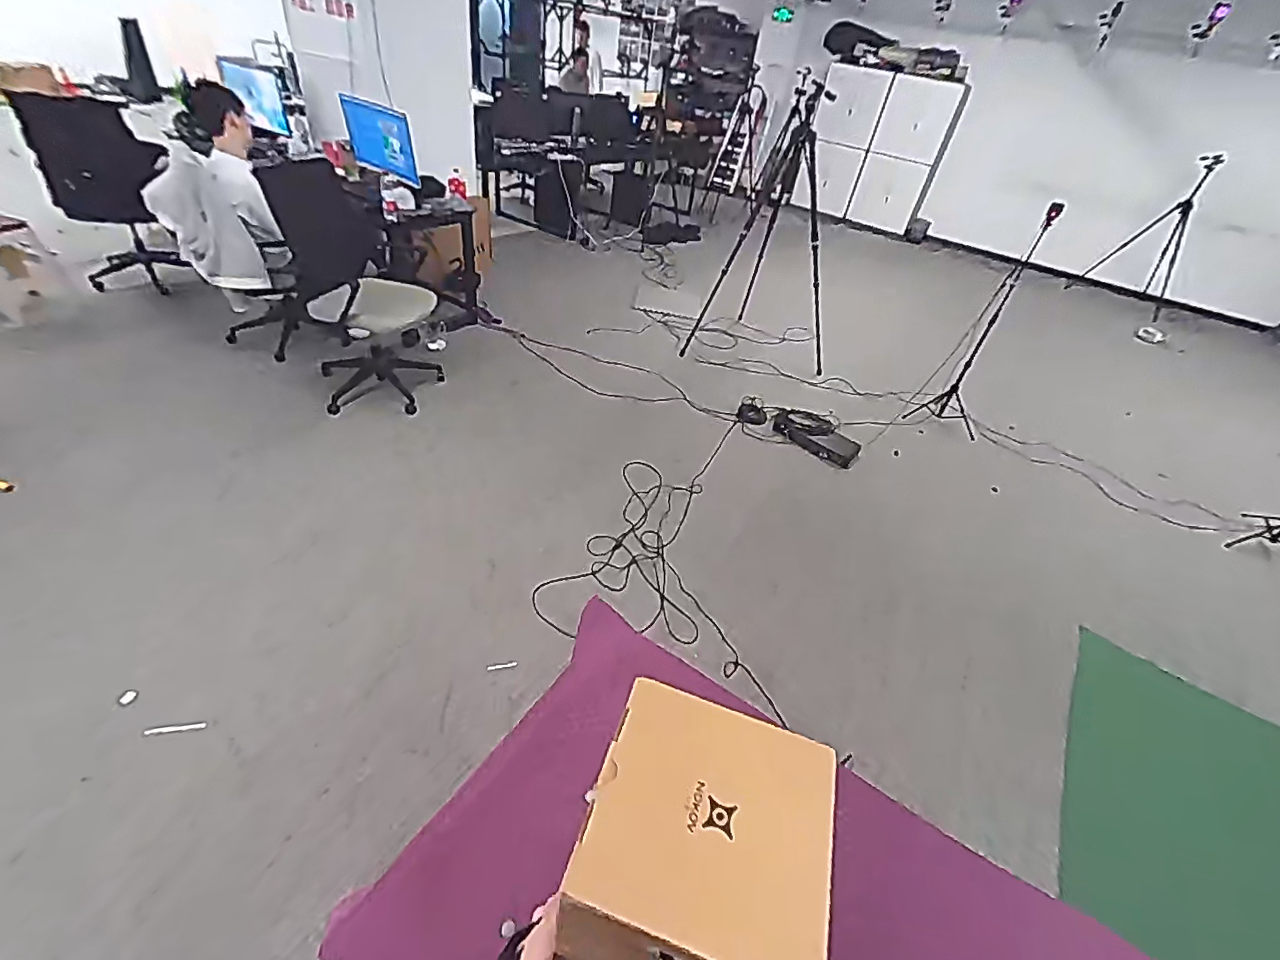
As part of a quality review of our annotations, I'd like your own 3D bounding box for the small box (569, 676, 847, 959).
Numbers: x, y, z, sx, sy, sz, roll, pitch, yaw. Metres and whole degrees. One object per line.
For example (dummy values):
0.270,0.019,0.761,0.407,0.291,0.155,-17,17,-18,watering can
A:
0.053,0.303,0.453,0.179,0.176,0.168,18,42,9,small box
